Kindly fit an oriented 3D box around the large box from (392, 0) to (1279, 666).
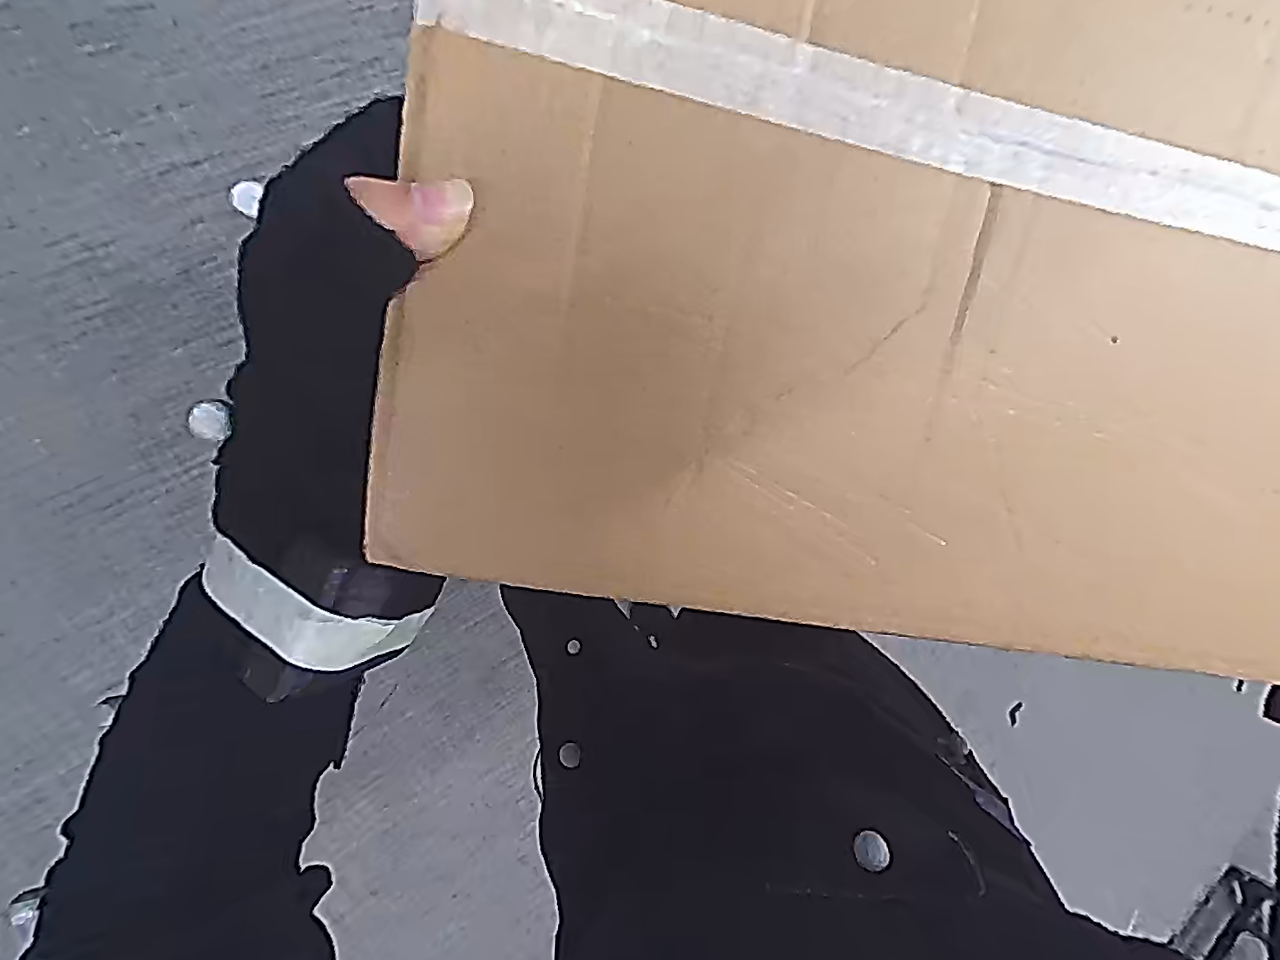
[{"bbox_3d":[0.120,-0.122,0.324,0.408,0.320,0.320,8,100,-8],"label":"large box"}]
